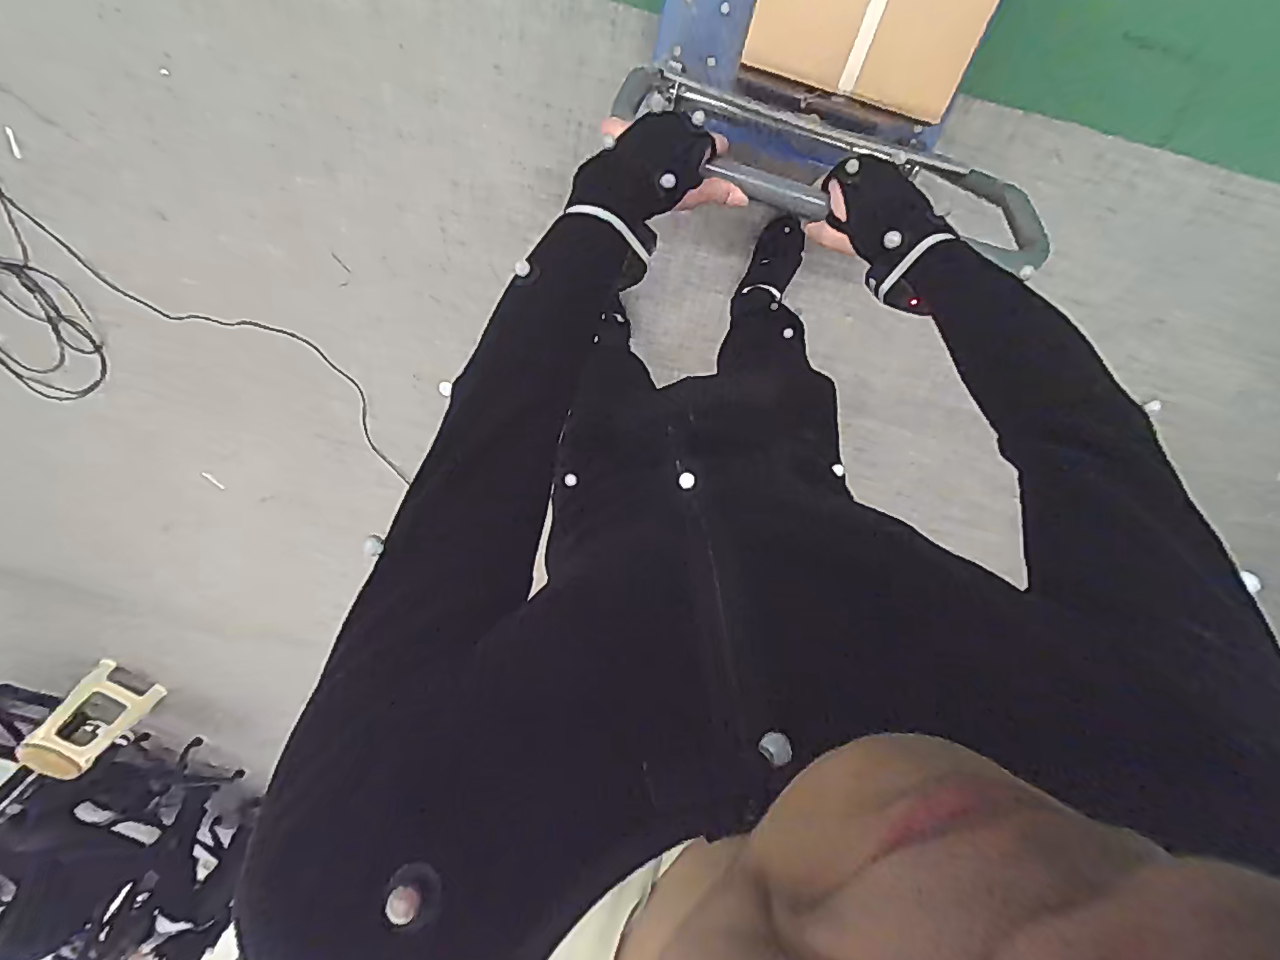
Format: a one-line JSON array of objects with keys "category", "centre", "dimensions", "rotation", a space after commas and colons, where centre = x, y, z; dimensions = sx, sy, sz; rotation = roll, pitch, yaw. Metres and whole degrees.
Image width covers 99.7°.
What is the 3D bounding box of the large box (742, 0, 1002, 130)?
[{"category": "large box", "centre": [0.364, -0.796, 0.812], "dimensions": [0.320, 0.320, 0.408], "rotation": [16, 123, -3]}]
